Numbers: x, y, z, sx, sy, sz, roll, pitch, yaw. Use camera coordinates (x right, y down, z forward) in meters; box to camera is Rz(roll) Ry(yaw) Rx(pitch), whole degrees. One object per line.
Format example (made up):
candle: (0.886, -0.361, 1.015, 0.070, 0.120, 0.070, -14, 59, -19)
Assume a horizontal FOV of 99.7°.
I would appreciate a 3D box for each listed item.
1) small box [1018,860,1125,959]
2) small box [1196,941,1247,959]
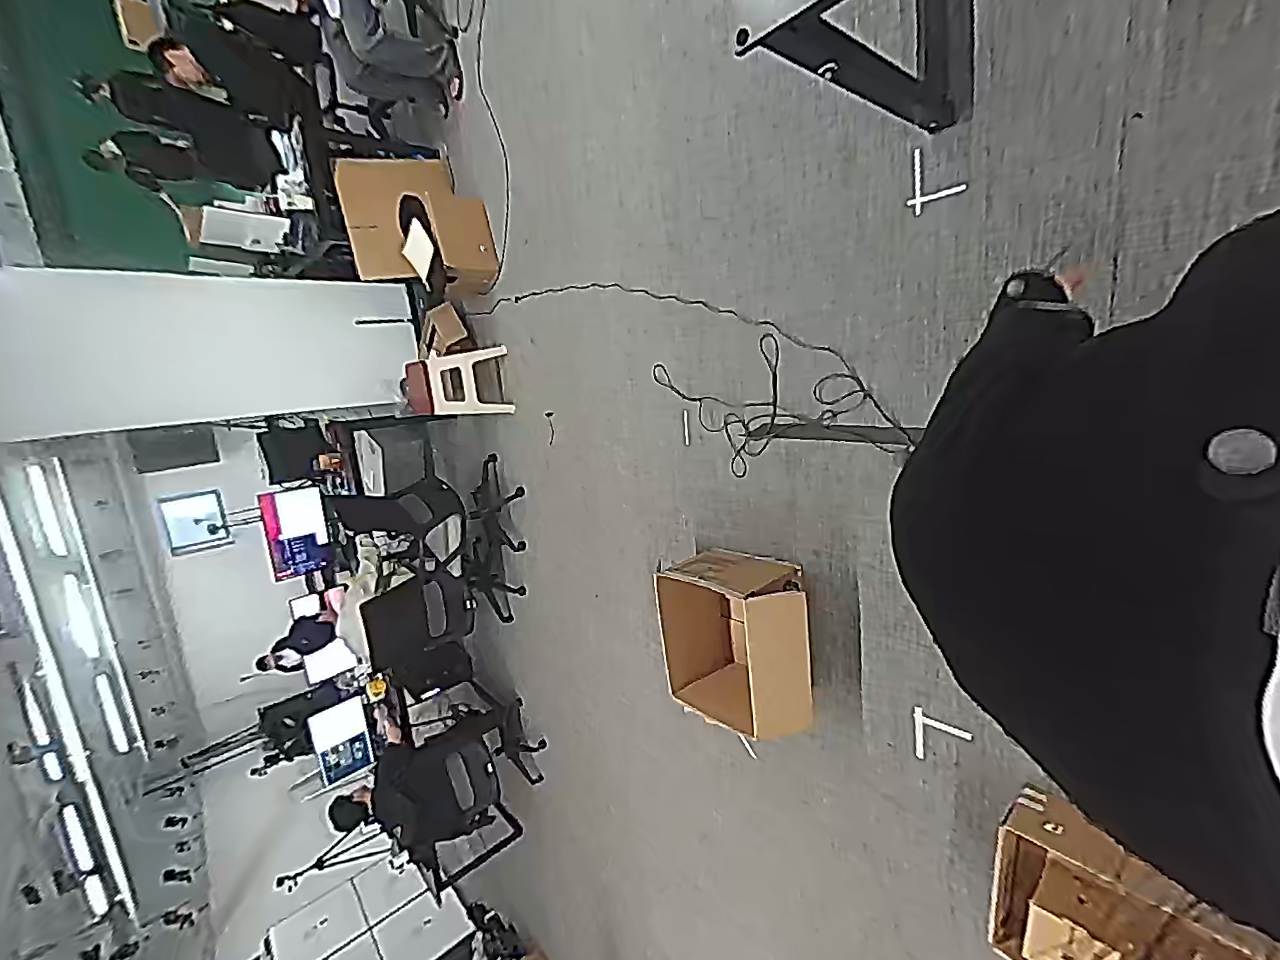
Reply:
small box: (1.043, 1.079, 1.306, 0.168, 0.176, 0.179, 14, 110, 47)
small box: (1.233, 1.101, 1.088, 0.179, 0.176, 0.168, 11, 107, 50)
